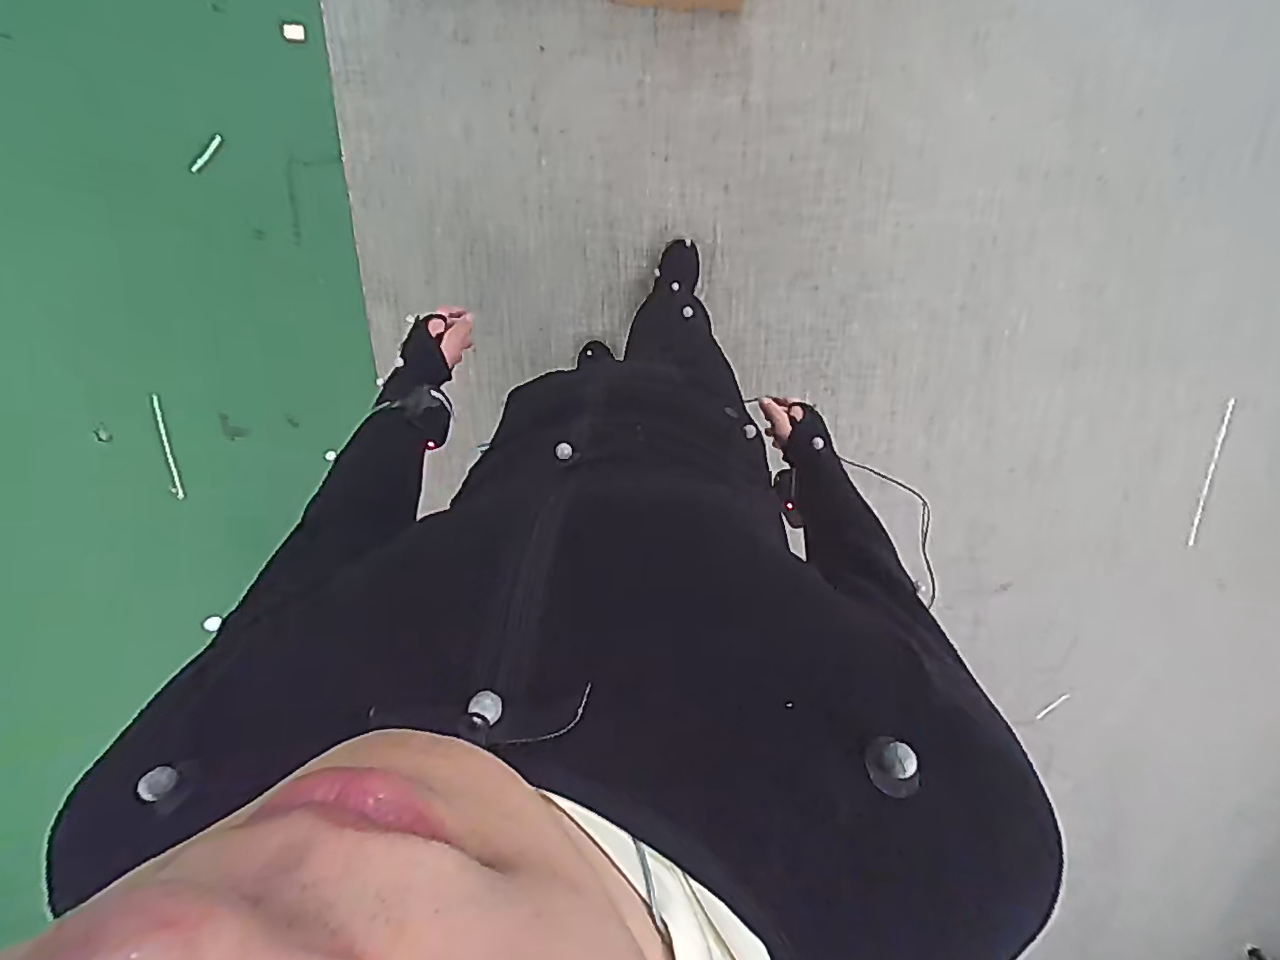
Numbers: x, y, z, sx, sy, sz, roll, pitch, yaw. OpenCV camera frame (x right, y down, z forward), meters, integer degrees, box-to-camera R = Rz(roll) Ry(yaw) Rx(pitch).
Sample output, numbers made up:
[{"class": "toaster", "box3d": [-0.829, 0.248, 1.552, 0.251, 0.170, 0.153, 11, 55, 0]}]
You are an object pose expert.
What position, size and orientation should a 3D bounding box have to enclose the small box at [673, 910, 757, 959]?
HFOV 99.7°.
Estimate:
[{"class": "small box", "box3d": [0.159, 1.046, 1.139, 0.168, 0.176, 0.179, -4, 108, 0]}]
